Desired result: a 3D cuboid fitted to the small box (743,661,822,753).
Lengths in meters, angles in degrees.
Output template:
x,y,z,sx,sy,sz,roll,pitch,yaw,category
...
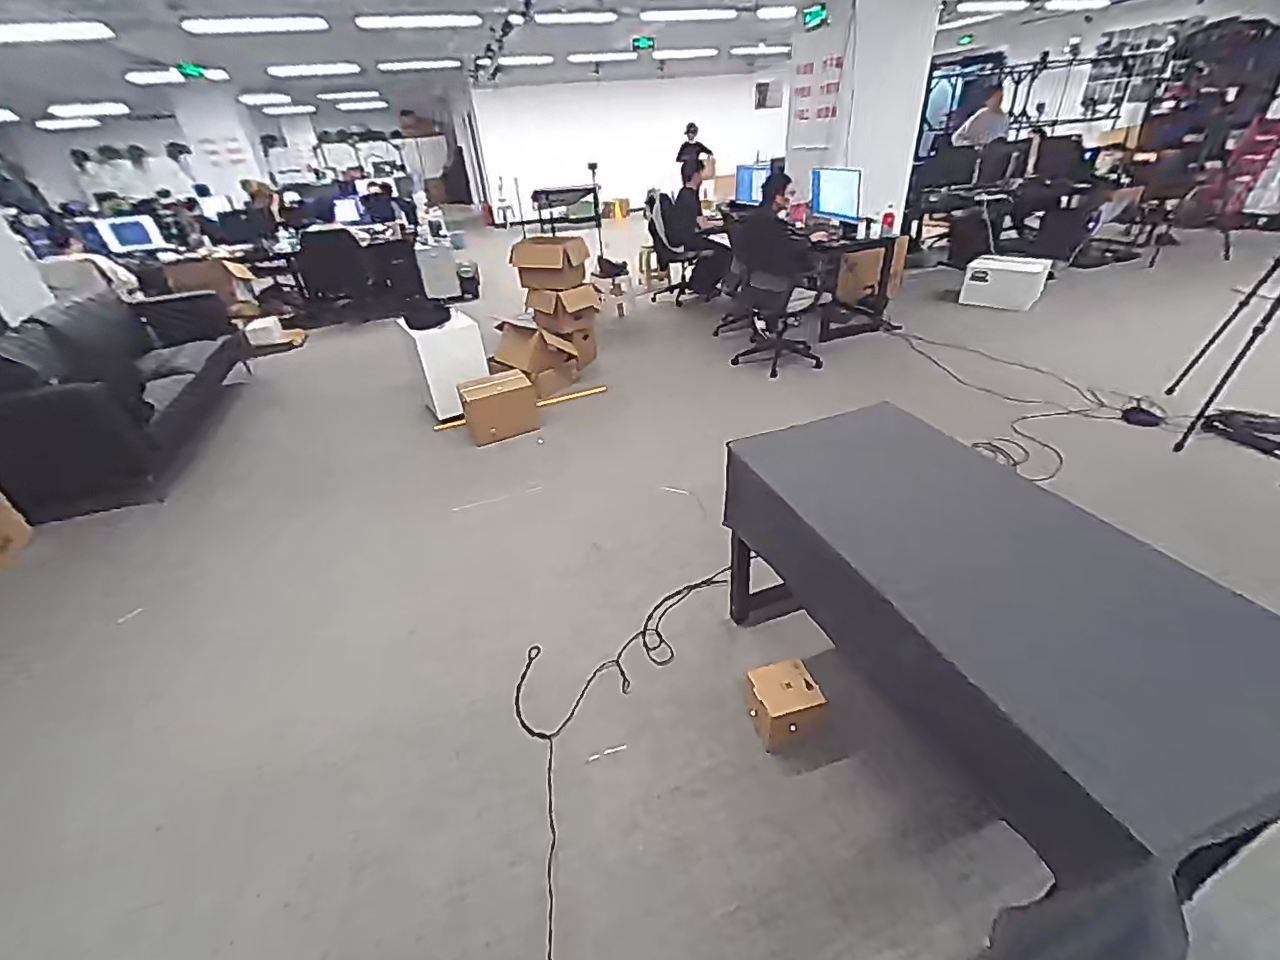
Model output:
x,y,z,sx,sy,sz,roll,pitch,yaw,category
0.416,0.673,1.601,0.179,0.176,0.168,-11,32,-10,small box
